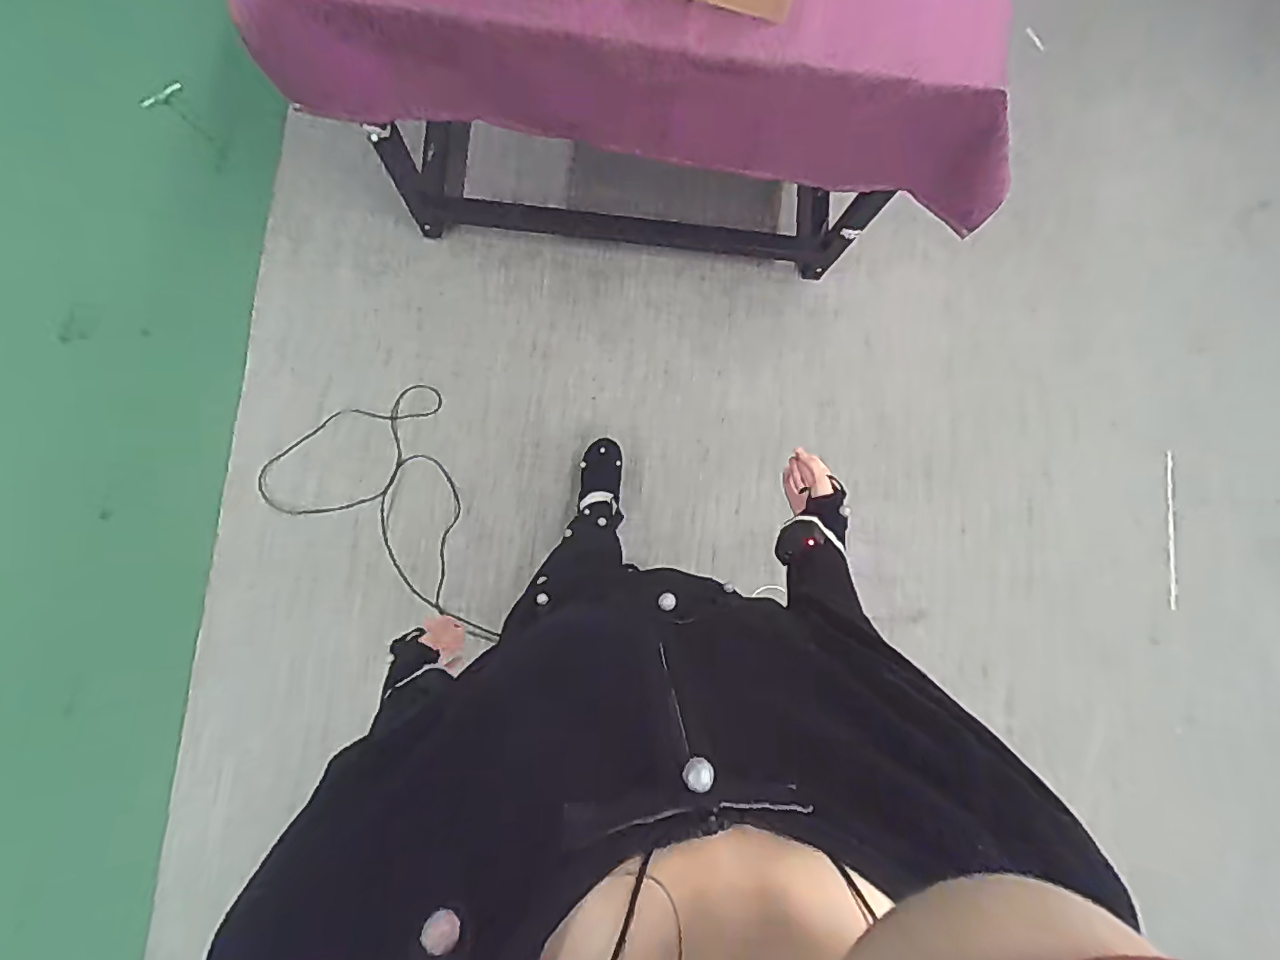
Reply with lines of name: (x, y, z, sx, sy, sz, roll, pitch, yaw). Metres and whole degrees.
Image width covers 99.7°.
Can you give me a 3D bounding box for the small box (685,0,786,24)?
small box: (0.166, -0.852, 0.823, 0.179, 0.176, 0.168, 12, 83, -3)
